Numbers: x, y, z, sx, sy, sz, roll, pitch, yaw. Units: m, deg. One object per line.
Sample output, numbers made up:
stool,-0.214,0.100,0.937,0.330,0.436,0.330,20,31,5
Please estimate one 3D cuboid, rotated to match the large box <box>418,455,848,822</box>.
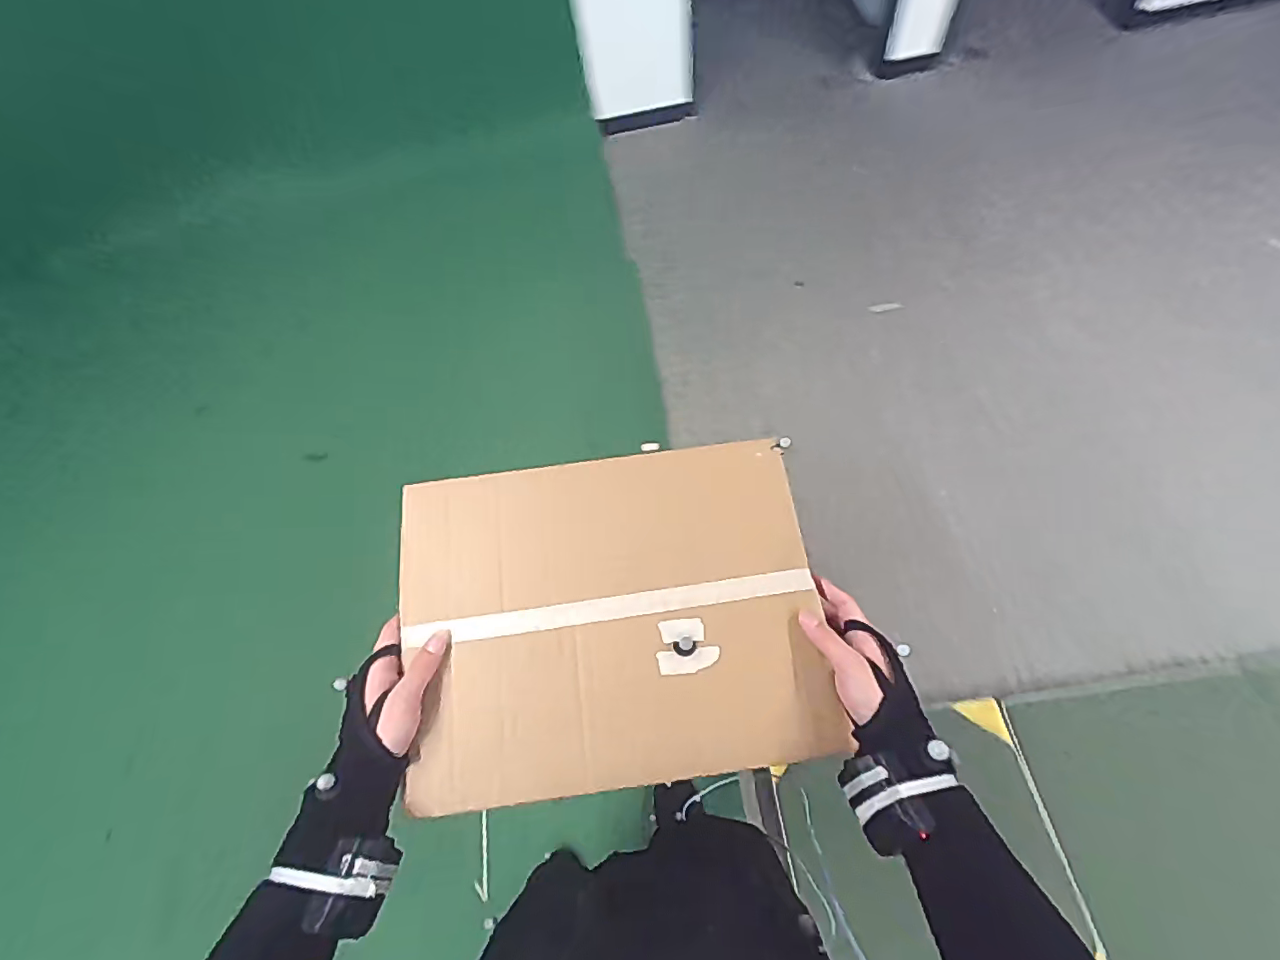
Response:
large box,-0.022,0.190,0.679,0.408,0.320,0.320,-7,70,-2
